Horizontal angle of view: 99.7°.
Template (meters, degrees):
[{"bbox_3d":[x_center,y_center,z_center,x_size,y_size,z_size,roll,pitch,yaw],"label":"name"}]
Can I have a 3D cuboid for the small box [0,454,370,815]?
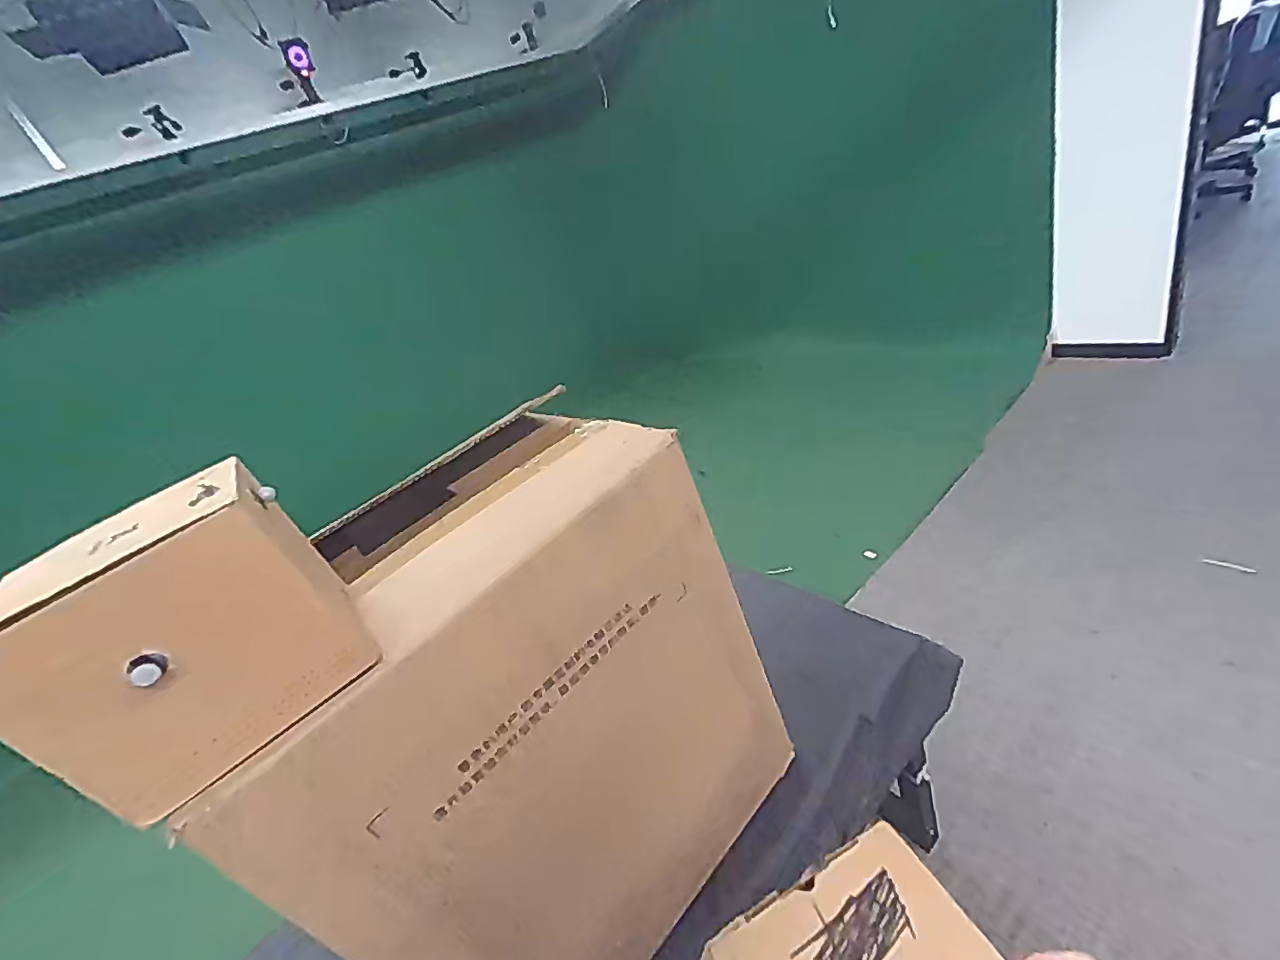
[{"bbox_3d":[-0.350,0.108,0.421,0.179,0.176,0.168,-37,33,-23],"label":"small box"}]
